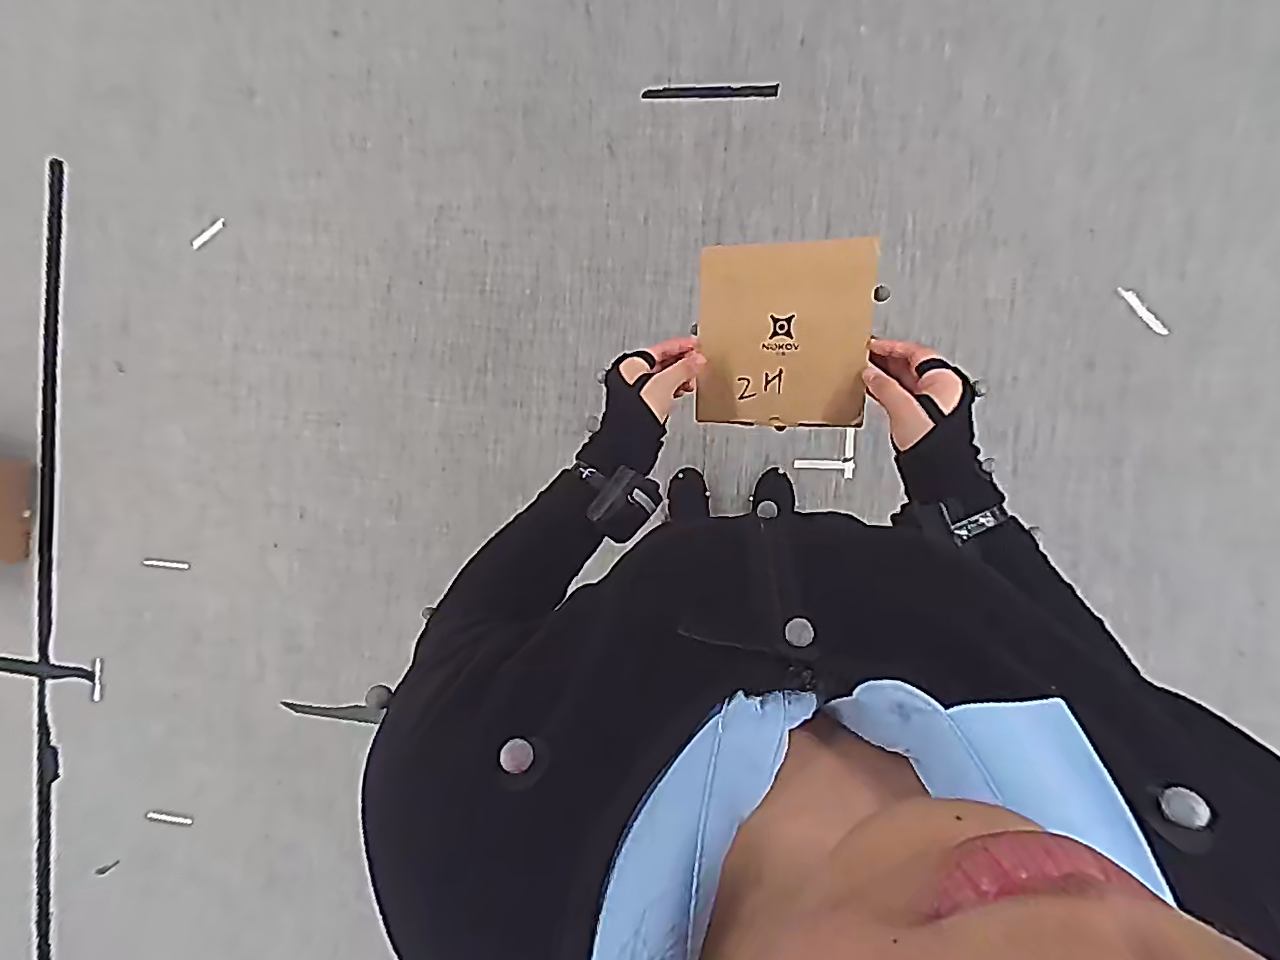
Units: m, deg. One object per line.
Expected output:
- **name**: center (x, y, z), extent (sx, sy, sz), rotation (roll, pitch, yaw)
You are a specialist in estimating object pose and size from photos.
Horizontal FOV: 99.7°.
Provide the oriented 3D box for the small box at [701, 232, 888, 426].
- **small box**: center (0.165, -0.156, 0.594), extent (0.168, 0.176, 0.179), rotation (4, 102, 17)
